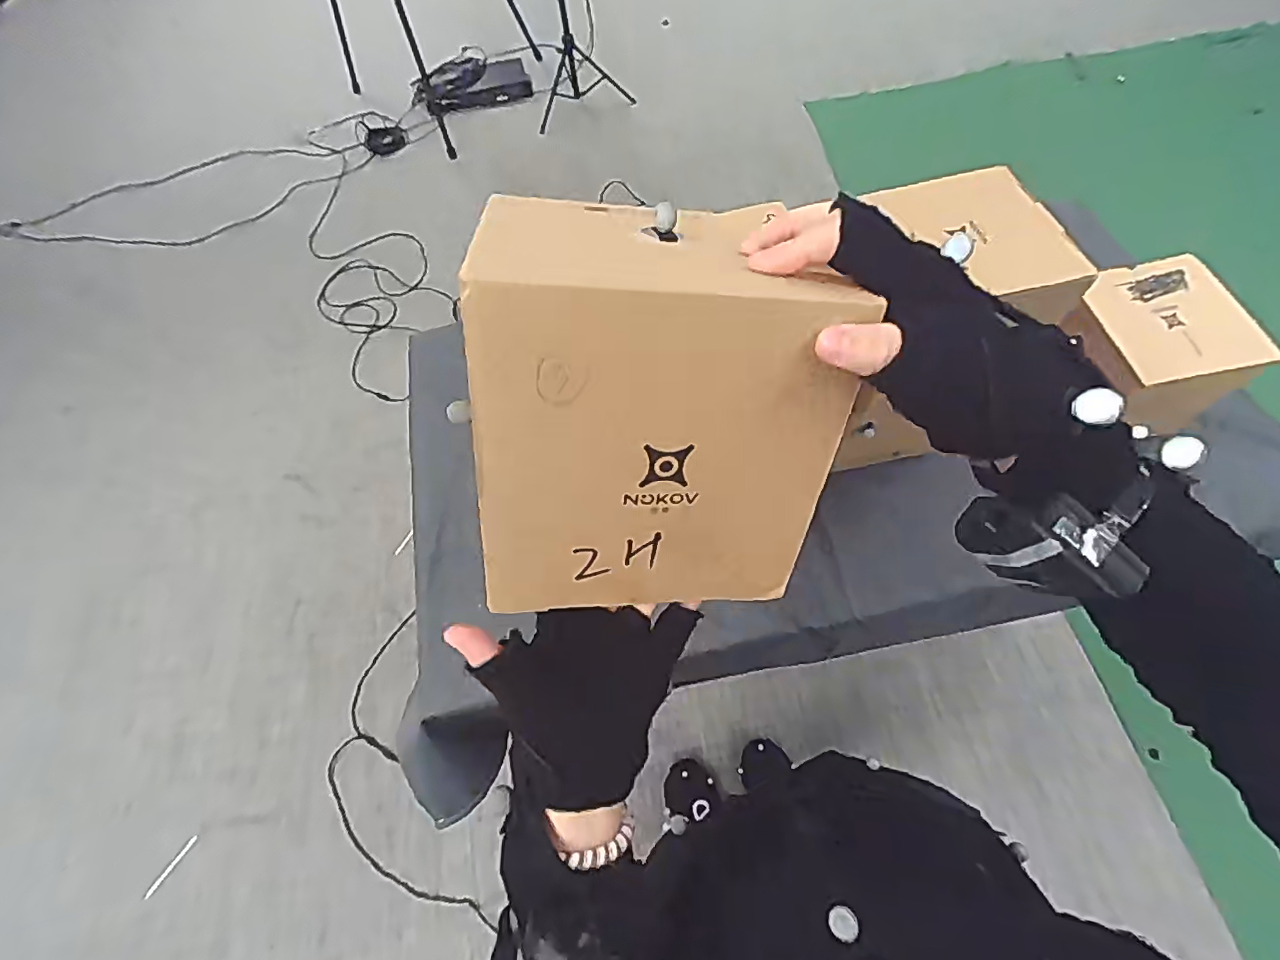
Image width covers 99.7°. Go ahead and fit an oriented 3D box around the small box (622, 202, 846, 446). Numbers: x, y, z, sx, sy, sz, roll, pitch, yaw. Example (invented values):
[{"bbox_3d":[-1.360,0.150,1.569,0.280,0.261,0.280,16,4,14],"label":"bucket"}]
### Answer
[{"bbox_3d":[0.092,-0.158,0.589,0.179,0.176,0.168,-16,65,-2],"label":"small box"}]
